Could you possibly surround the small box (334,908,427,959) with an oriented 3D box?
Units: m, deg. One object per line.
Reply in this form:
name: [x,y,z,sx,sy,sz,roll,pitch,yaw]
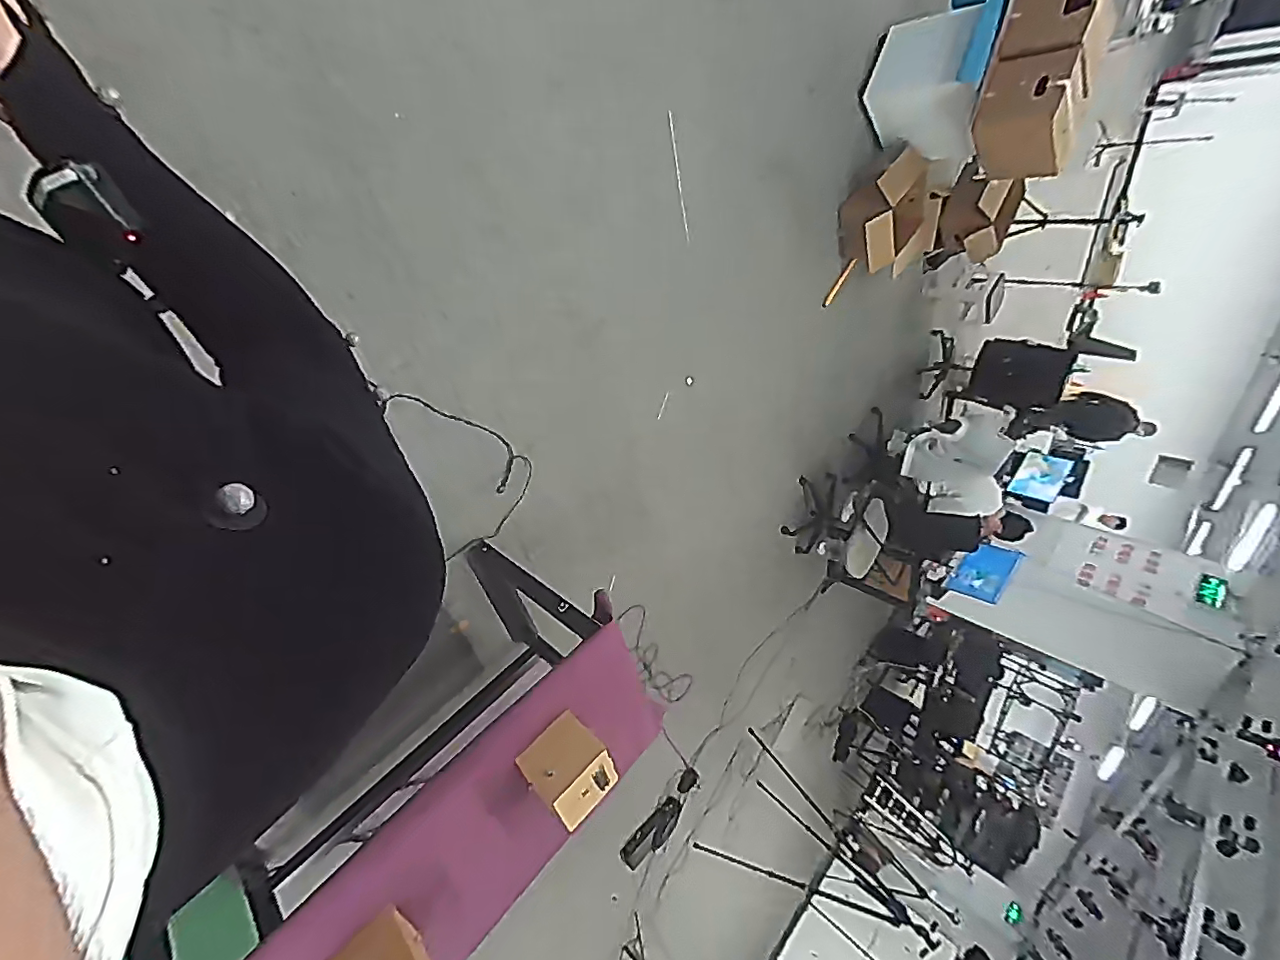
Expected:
small box: [-0.563,1.098,1.171,0.179,0.176,0.168,-36,131,-35]
